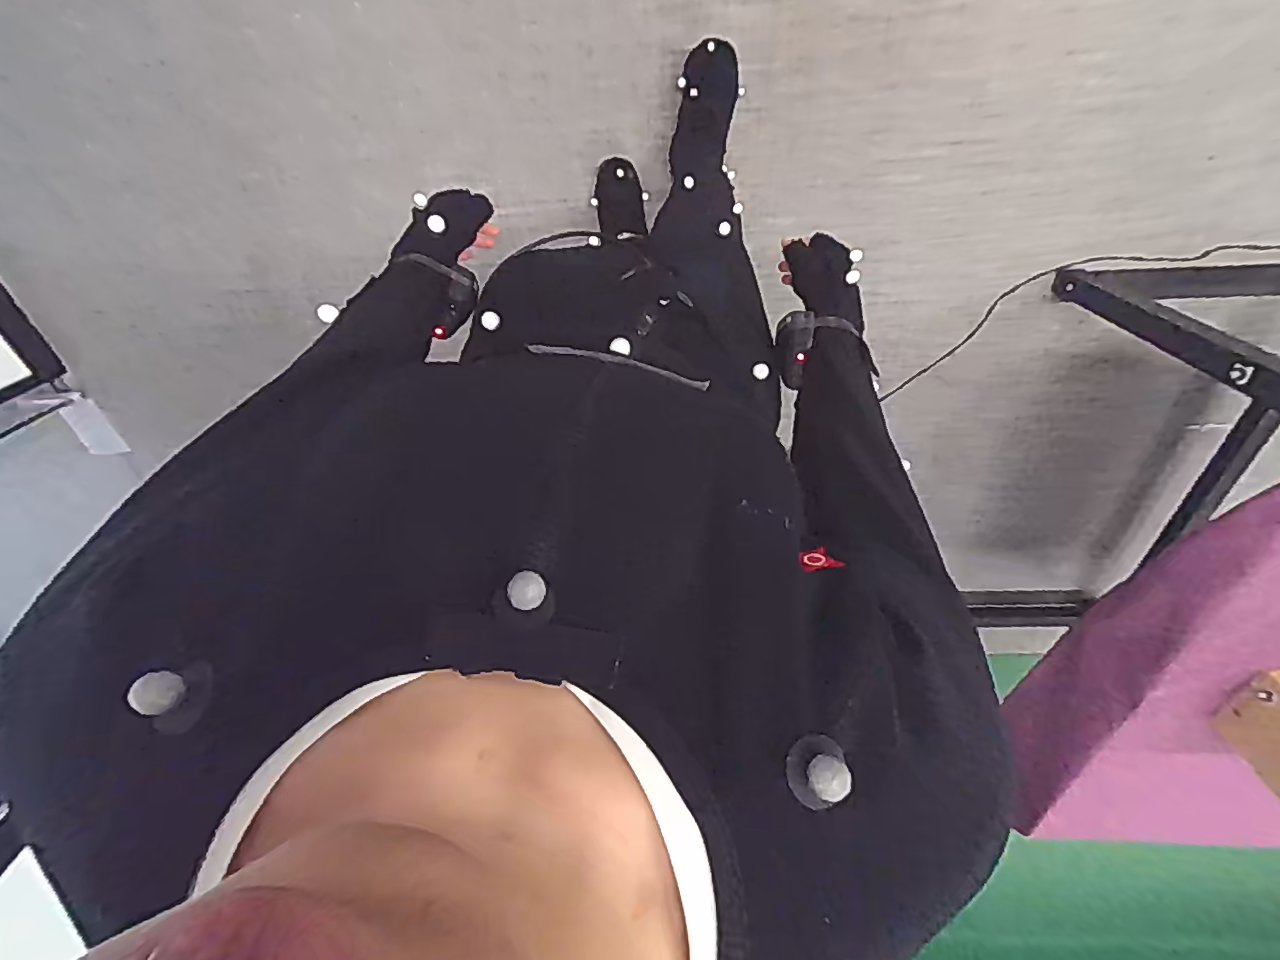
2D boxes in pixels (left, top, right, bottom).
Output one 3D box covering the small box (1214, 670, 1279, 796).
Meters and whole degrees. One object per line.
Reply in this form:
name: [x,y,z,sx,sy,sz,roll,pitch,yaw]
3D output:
small box: [1.172,0.443,0.925,0.179,0.176,0.168,0,125,3]
